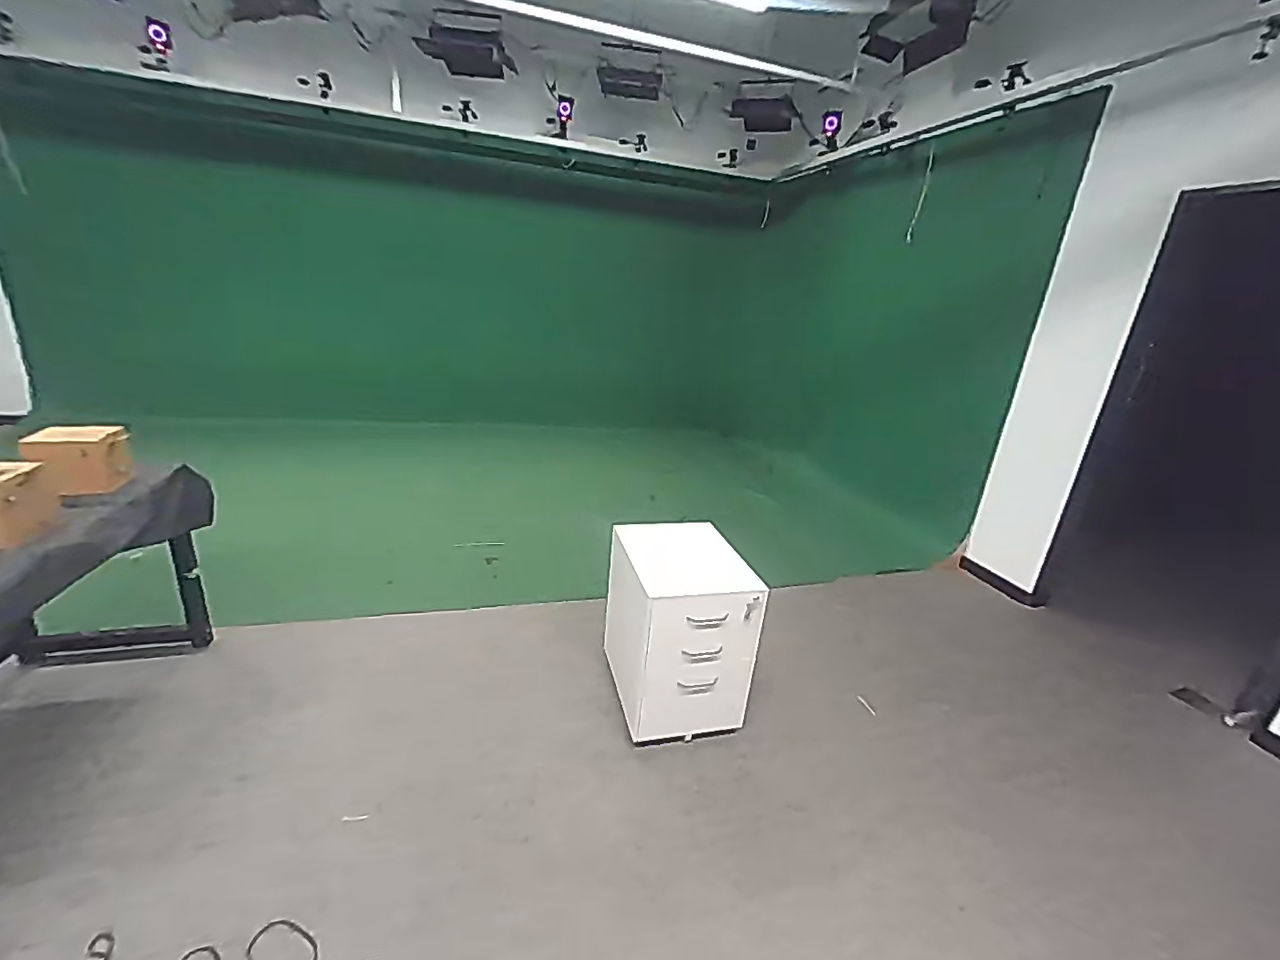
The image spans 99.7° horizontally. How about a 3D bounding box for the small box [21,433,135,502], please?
[{"bbox_3d":[-1.688,-0.039,1.636,0.179,0.176,0.168,-2,20,-21],"label":"small box"}]
